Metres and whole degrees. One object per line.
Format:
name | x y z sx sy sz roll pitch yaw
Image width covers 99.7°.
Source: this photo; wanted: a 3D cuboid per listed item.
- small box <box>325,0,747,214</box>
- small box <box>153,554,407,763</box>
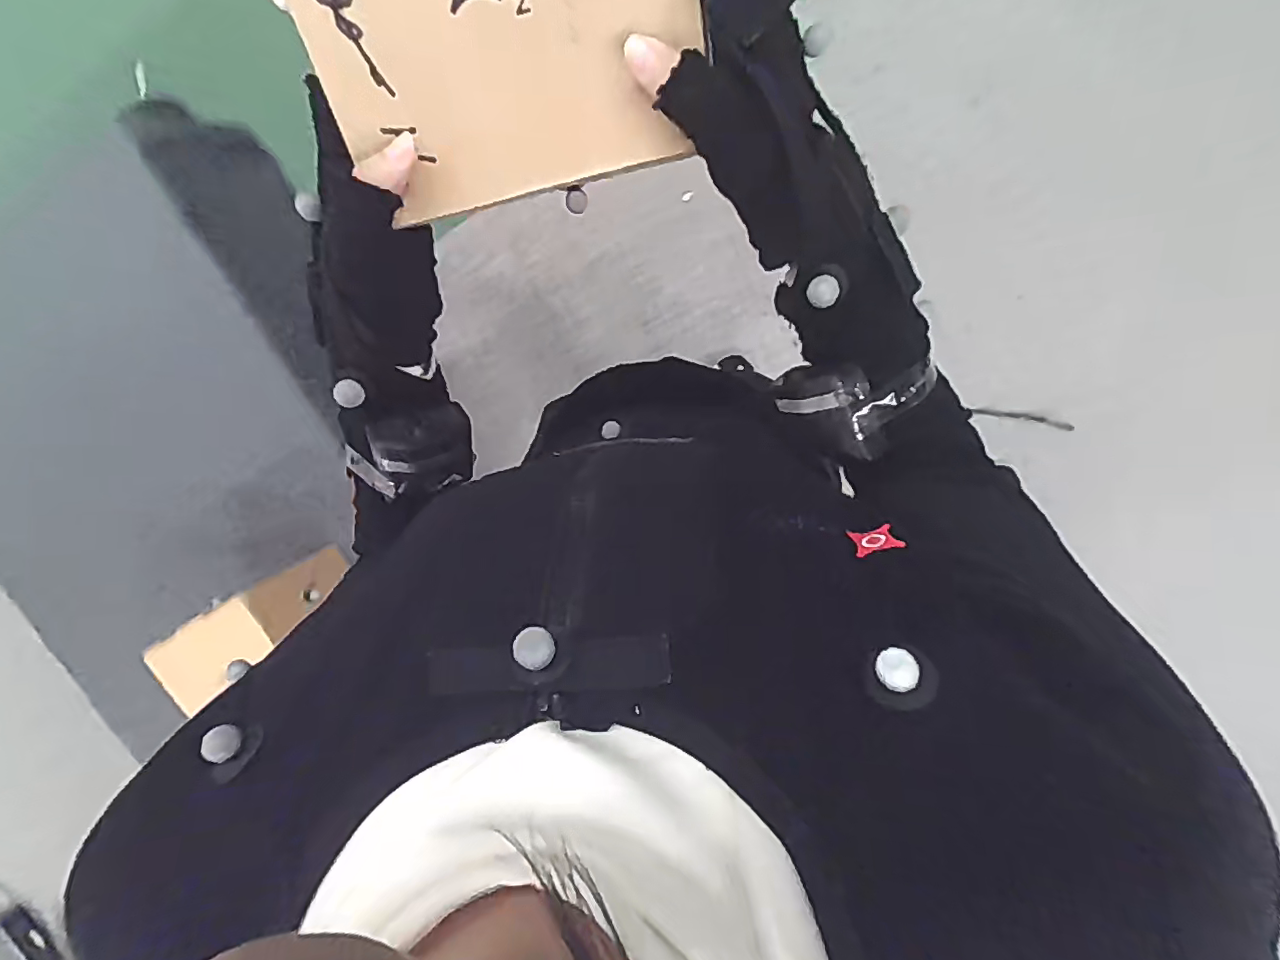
small box | -0.051 -0.255 0.295 0.179 0.176 0.168 -10 117 4
small box | -0.450 0.215 0.703 0.168 0.176 0.179 -30 99 13
